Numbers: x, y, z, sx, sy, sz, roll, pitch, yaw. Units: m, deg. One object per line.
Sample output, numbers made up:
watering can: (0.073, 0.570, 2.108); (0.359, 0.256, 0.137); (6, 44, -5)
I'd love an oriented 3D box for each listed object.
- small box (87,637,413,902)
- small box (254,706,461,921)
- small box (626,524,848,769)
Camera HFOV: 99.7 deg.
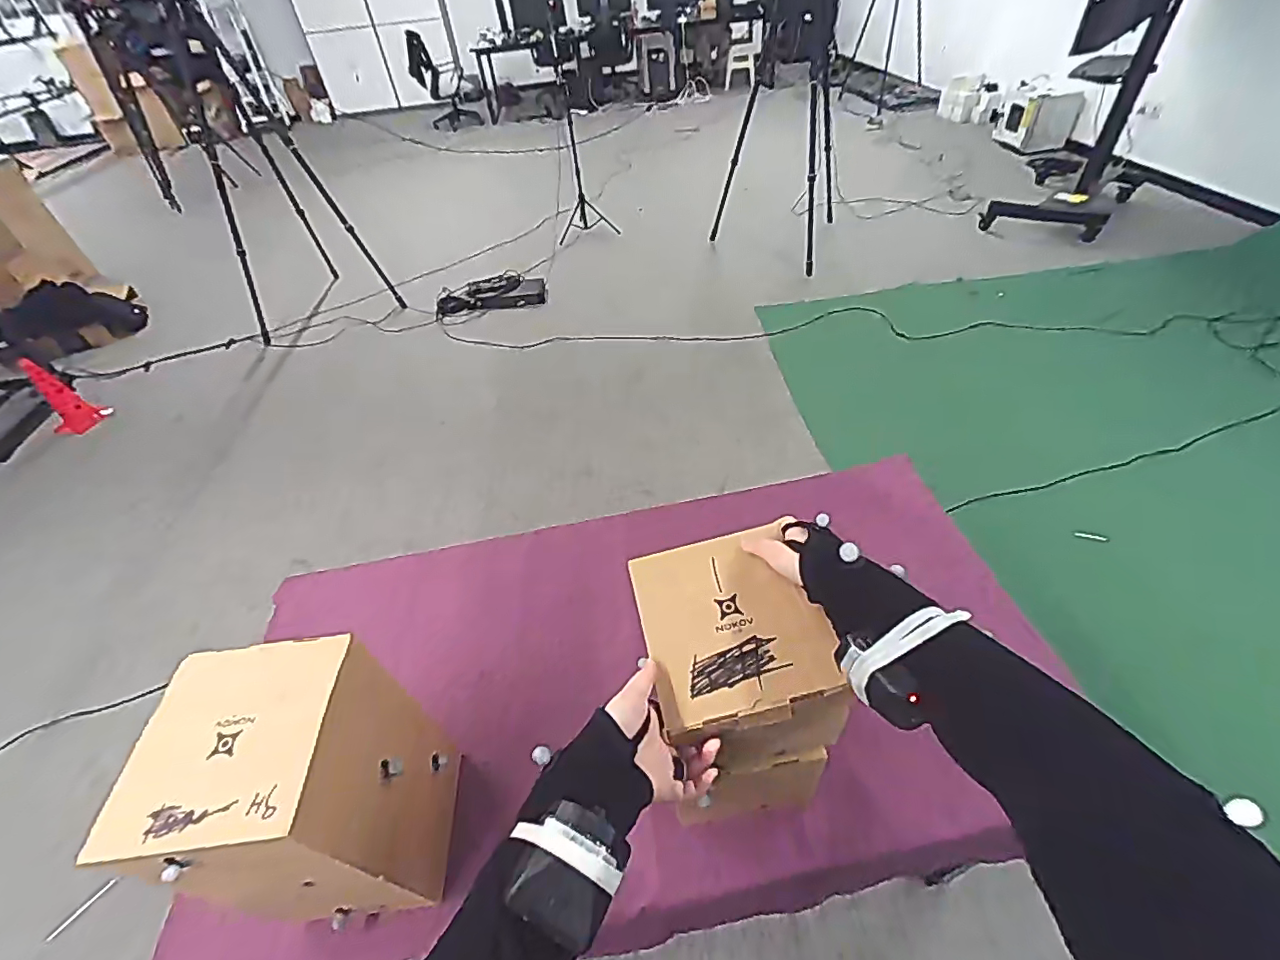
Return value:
small box: (-0.345, 0.283, 0.531); (0.168, 0.176, 0.179); (-9, 44, 1)
small box: (-0.328, 0.399, 0.647); (0.168, 0.176, 0.179); (-8, 45, 1)
small box: (0.092, 0.179, 0.560); (0.168, 0.176, 0.179); (-14, 47, -2)
